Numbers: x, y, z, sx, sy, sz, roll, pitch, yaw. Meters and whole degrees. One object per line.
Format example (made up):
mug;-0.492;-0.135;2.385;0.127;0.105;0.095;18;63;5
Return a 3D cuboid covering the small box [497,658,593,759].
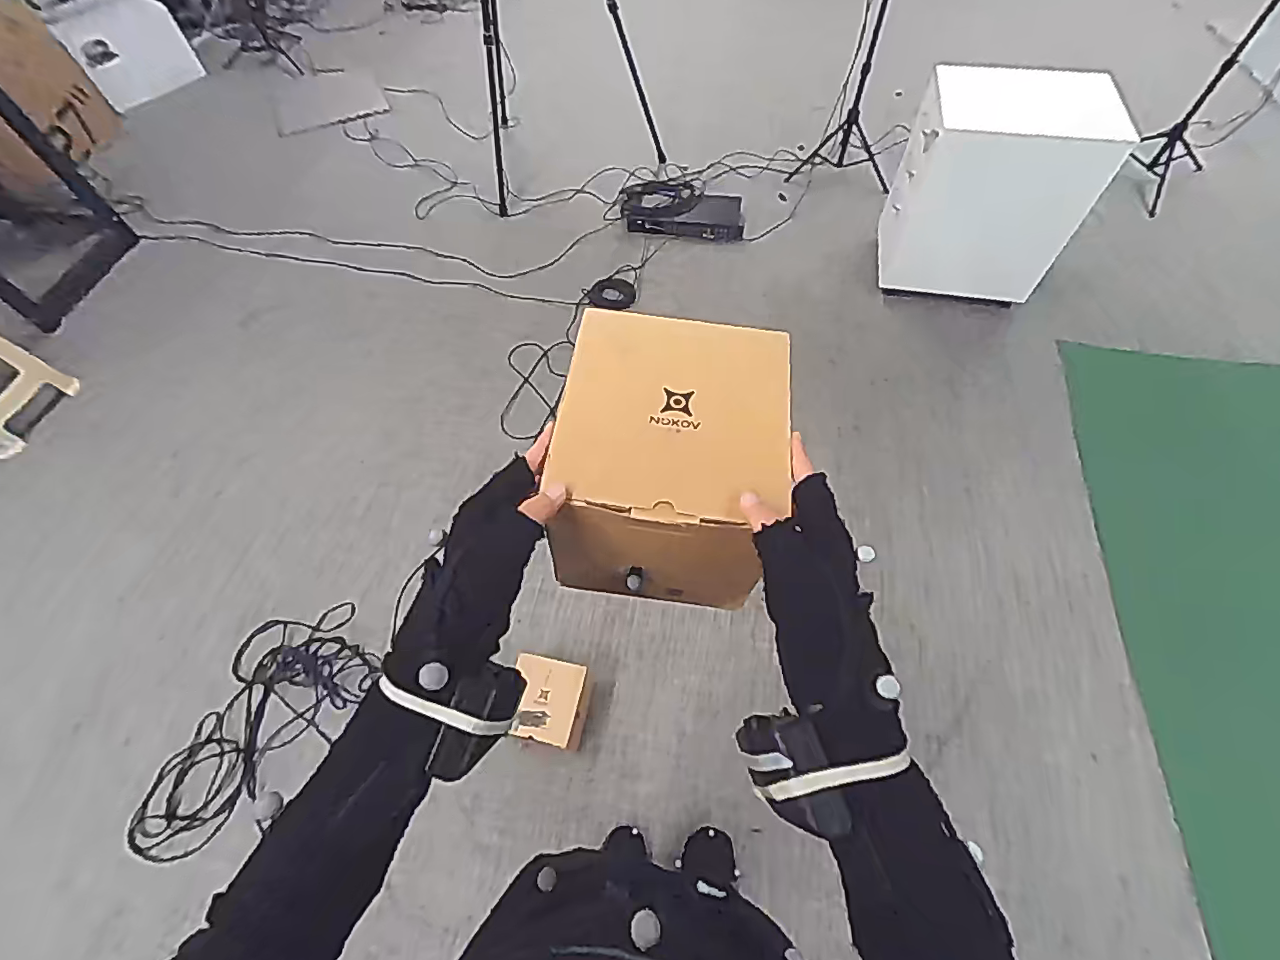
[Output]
small box;-0.213;0.545;1.277;0.168;0.176;0.179;10;58;8
